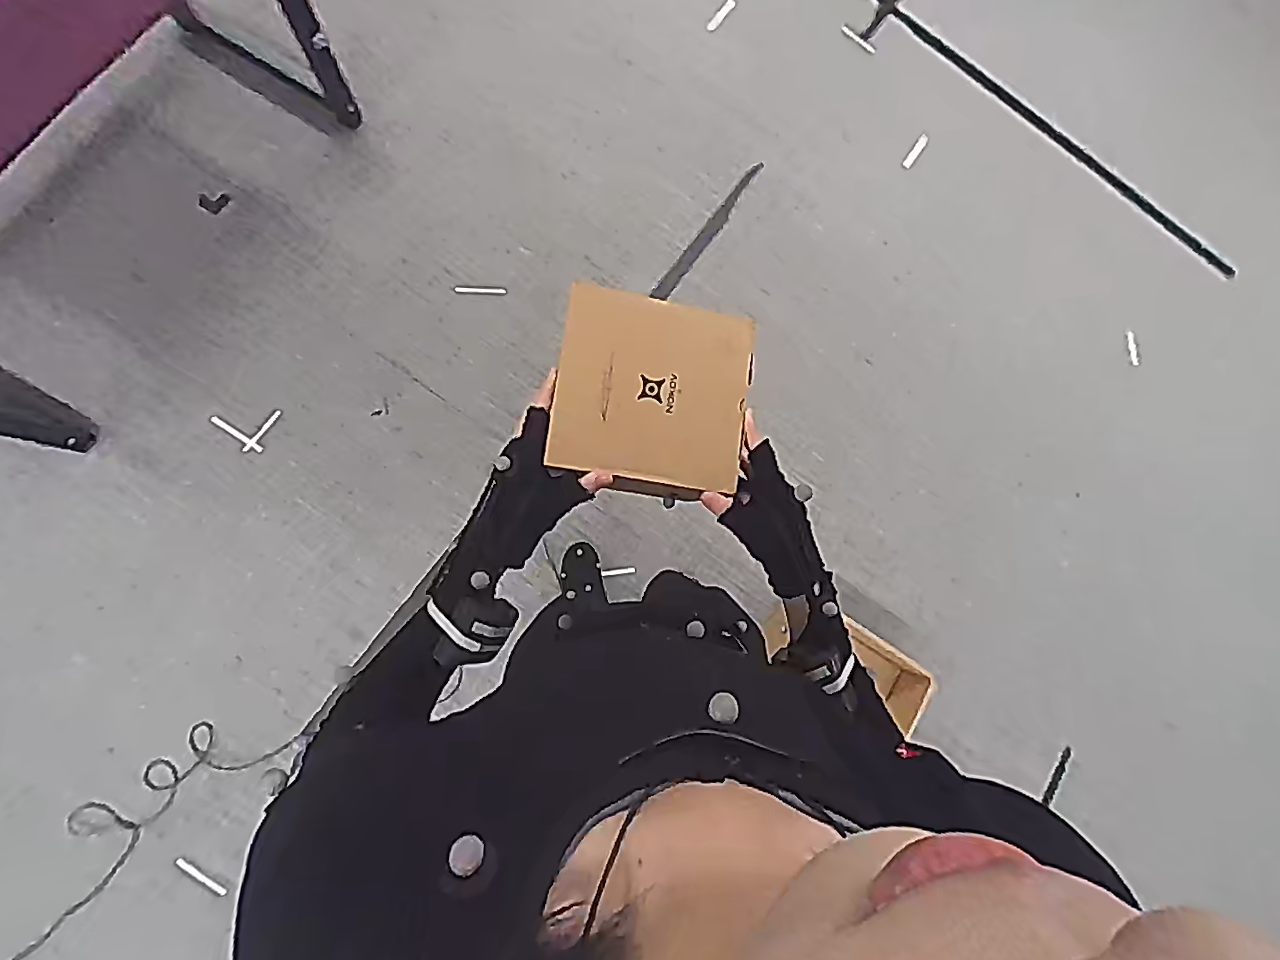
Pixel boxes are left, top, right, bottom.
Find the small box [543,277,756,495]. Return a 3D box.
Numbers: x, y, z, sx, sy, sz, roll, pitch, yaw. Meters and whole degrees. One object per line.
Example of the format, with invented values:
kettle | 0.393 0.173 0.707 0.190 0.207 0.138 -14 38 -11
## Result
small box | -0.001 -0.078 0.551 0.179 0.176 0.168 7 83 -9
